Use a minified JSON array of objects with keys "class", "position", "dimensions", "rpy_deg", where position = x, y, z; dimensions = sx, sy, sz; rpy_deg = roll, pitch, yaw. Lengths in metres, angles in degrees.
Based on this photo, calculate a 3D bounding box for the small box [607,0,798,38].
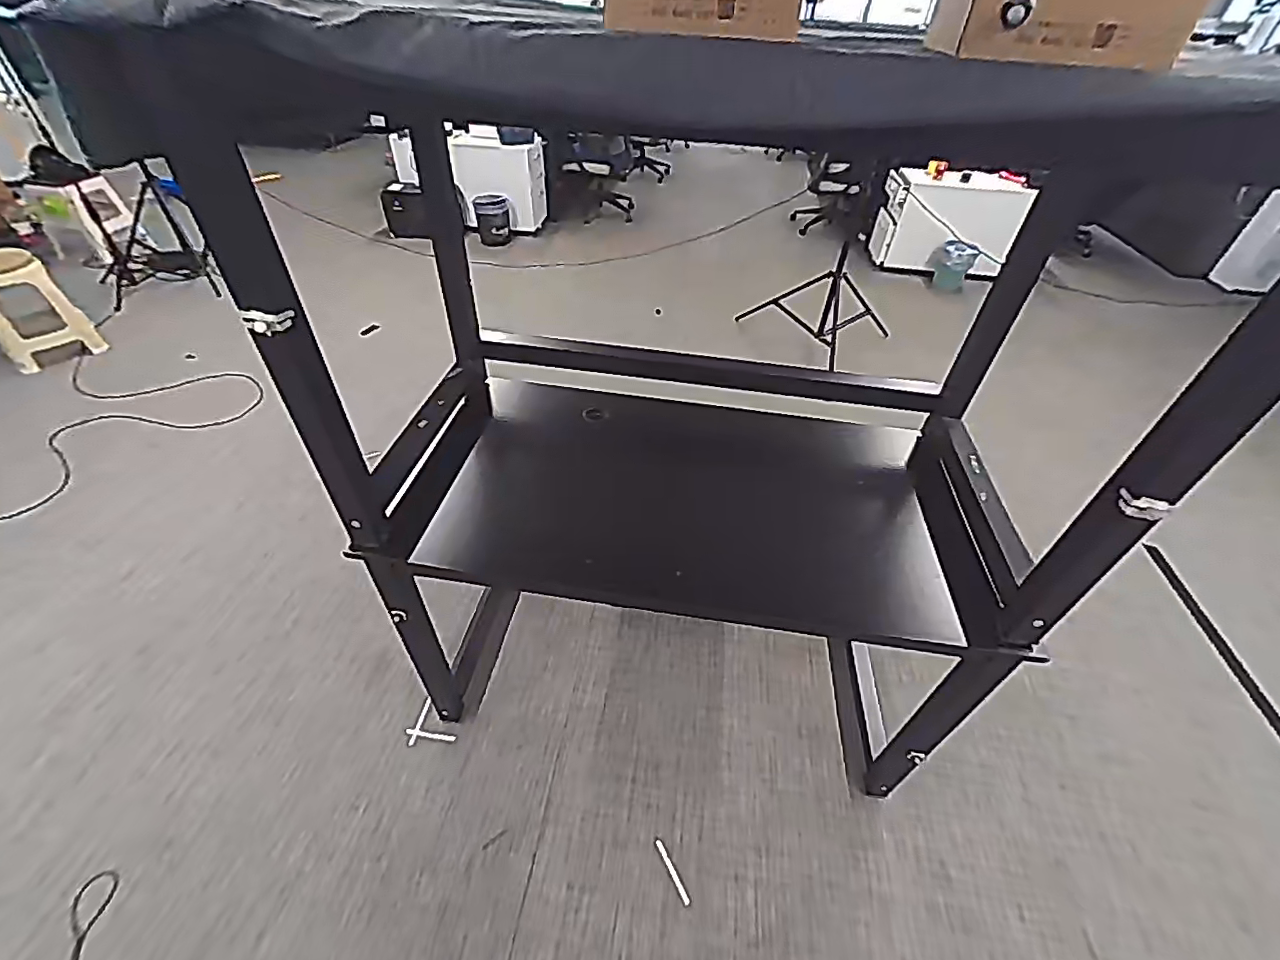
[{"class":"small box","position":[0.066,-0.499,0.467],"dimensions":[0.168,0.176,0.179],"rpy_deg":[8,40,6]}]

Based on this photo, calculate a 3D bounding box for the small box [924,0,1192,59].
[{"class":"small box","position":[0.362,-0.461,0.449],"dimensions":[0.168,0.176,0.179],"rpy_deg":[10,41,8]}]
